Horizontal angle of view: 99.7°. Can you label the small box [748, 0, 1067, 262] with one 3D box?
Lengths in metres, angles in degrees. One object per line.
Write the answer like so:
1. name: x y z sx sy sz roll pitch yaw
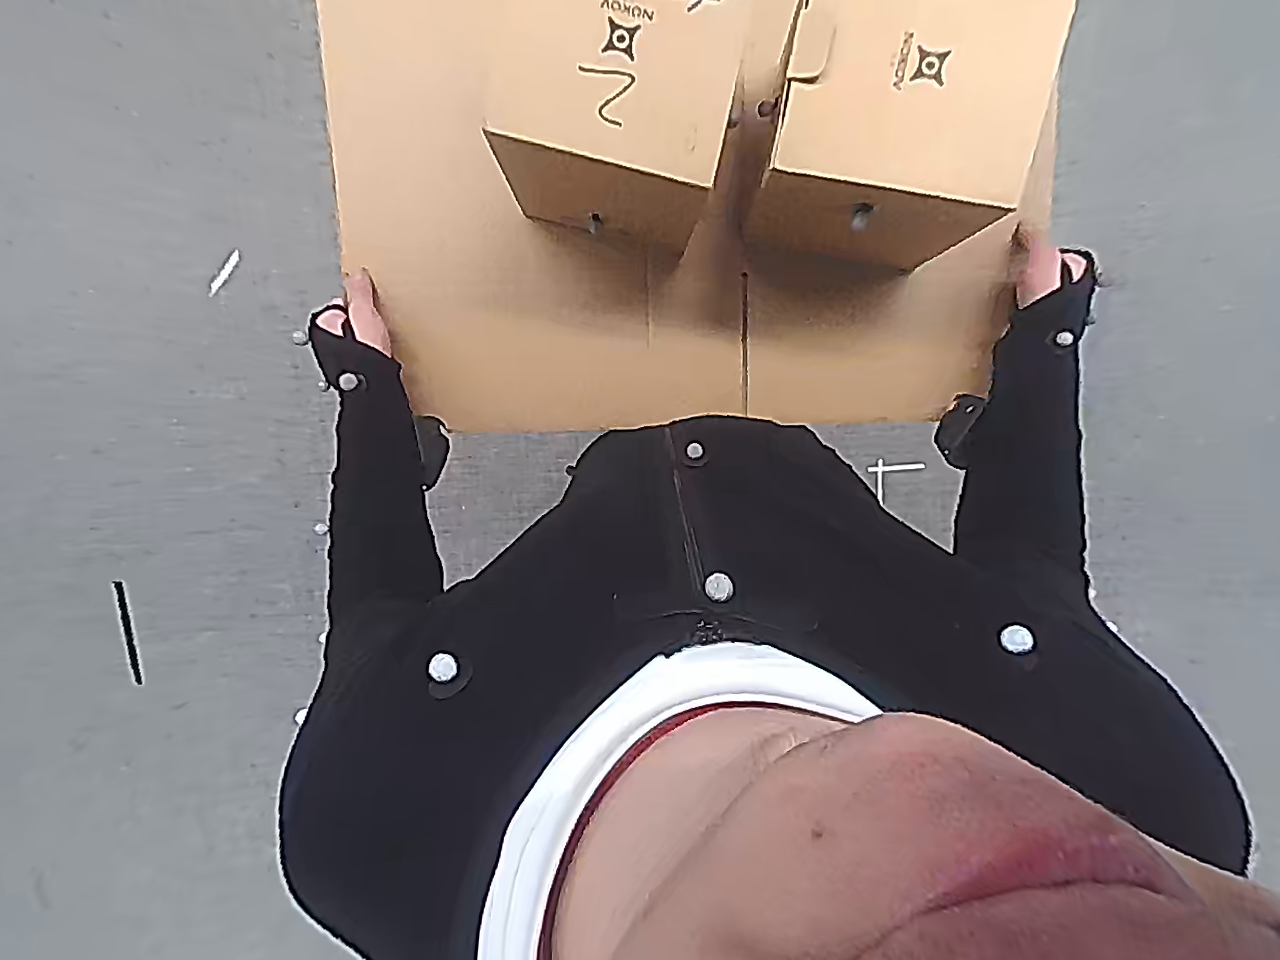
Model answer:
1. small box: 0.201 -0.298 0.460 0.179 0.176 0.168 11 98 4
